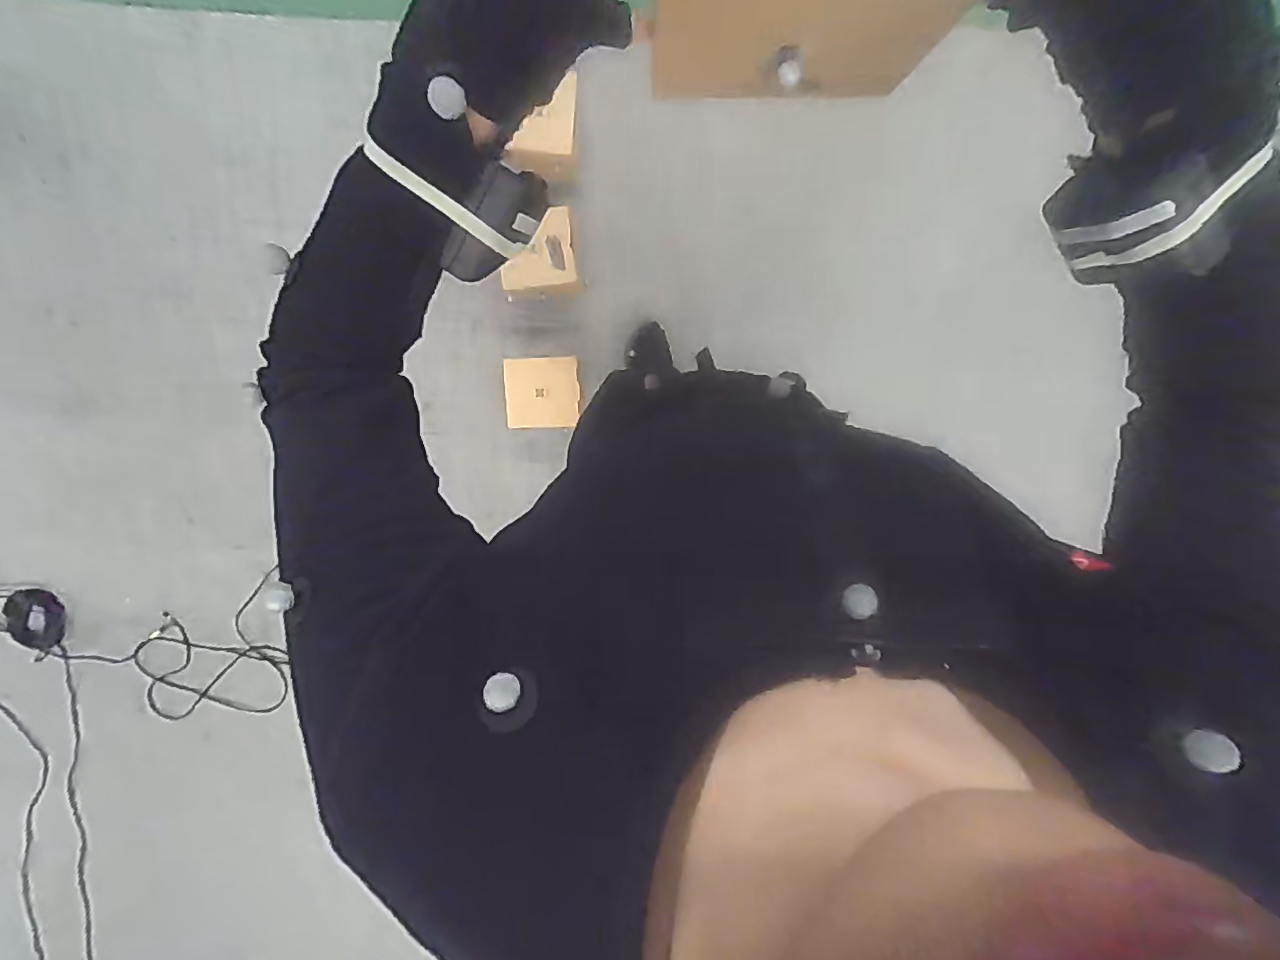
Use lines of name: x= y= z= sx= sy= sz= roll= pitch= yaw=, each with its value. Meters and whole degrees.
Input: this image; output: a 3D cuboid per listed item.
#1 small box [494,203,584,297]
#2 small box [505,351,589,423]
small box: x=-0.232 y=-0.543 z=1.294 sx=0.179 sy=0.176 sz=0.168 roll=-6 pitch=99 yaw=3
small box: x=-0.226 y=-0.230 z=1.348 sx=0.179 sy=0.176 sz=0.168 roll=-2 pitch=100 yaw=0
